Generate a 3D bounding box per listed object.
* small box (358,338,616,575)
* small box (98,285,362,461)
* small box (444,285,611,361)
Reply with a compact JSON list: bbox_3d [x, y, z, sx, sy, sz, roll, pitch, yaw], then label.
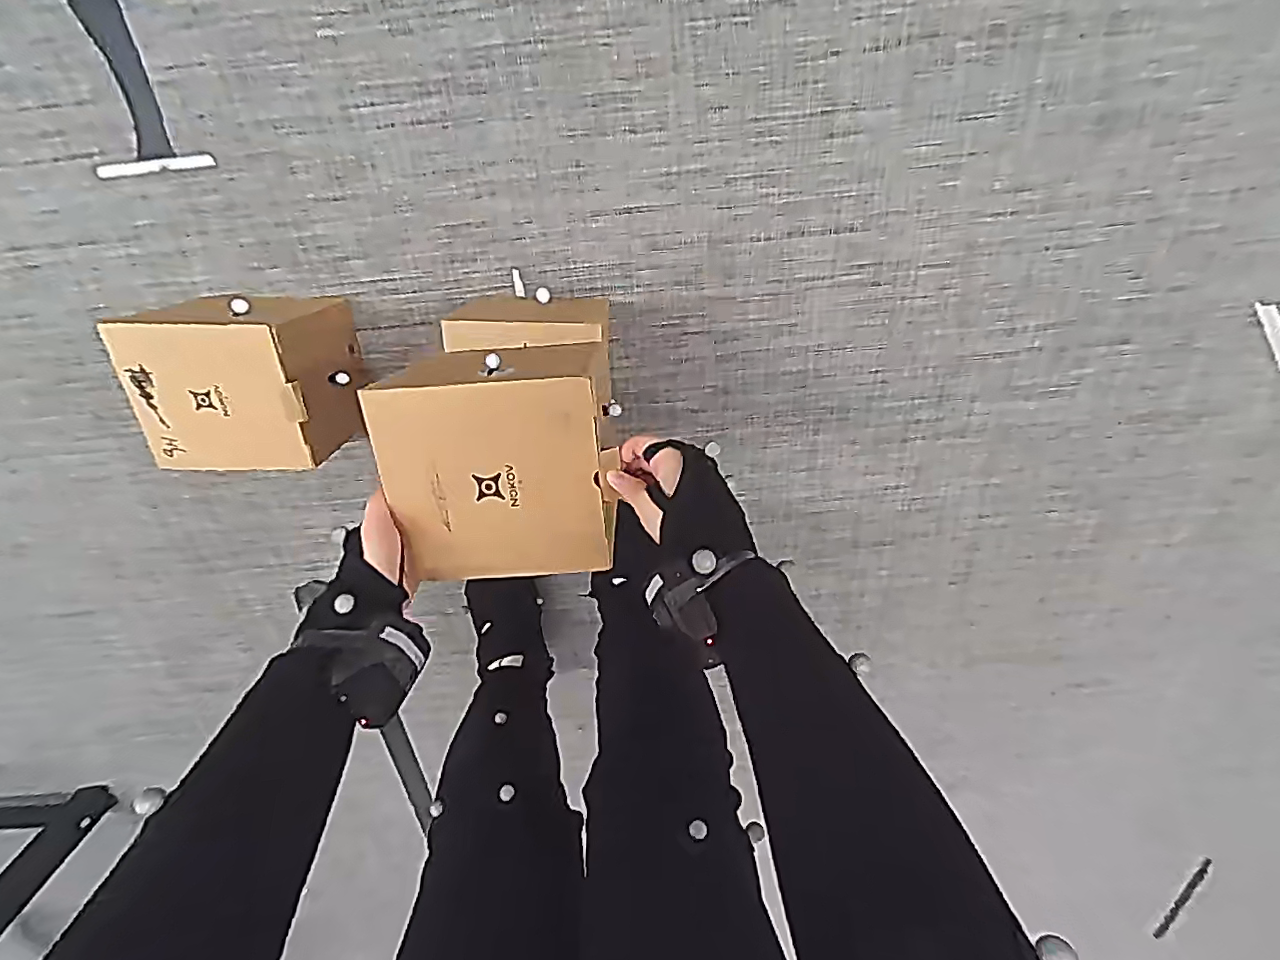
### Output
[{"bbox_3d":[-0.112,-0.031,0.488,0.179,0.176,0.168,-3,113,1],"label":"small box"},{"bbox_3d":[-0.453,-0.133,0.642,0.179,0.176,0.168,1,118,-3],"label":"small box"},{"bbox_3d":[-0.121,-0.129,0.652,0.168,0.176,0.179,2,117,-2],"label":"small box"}]
